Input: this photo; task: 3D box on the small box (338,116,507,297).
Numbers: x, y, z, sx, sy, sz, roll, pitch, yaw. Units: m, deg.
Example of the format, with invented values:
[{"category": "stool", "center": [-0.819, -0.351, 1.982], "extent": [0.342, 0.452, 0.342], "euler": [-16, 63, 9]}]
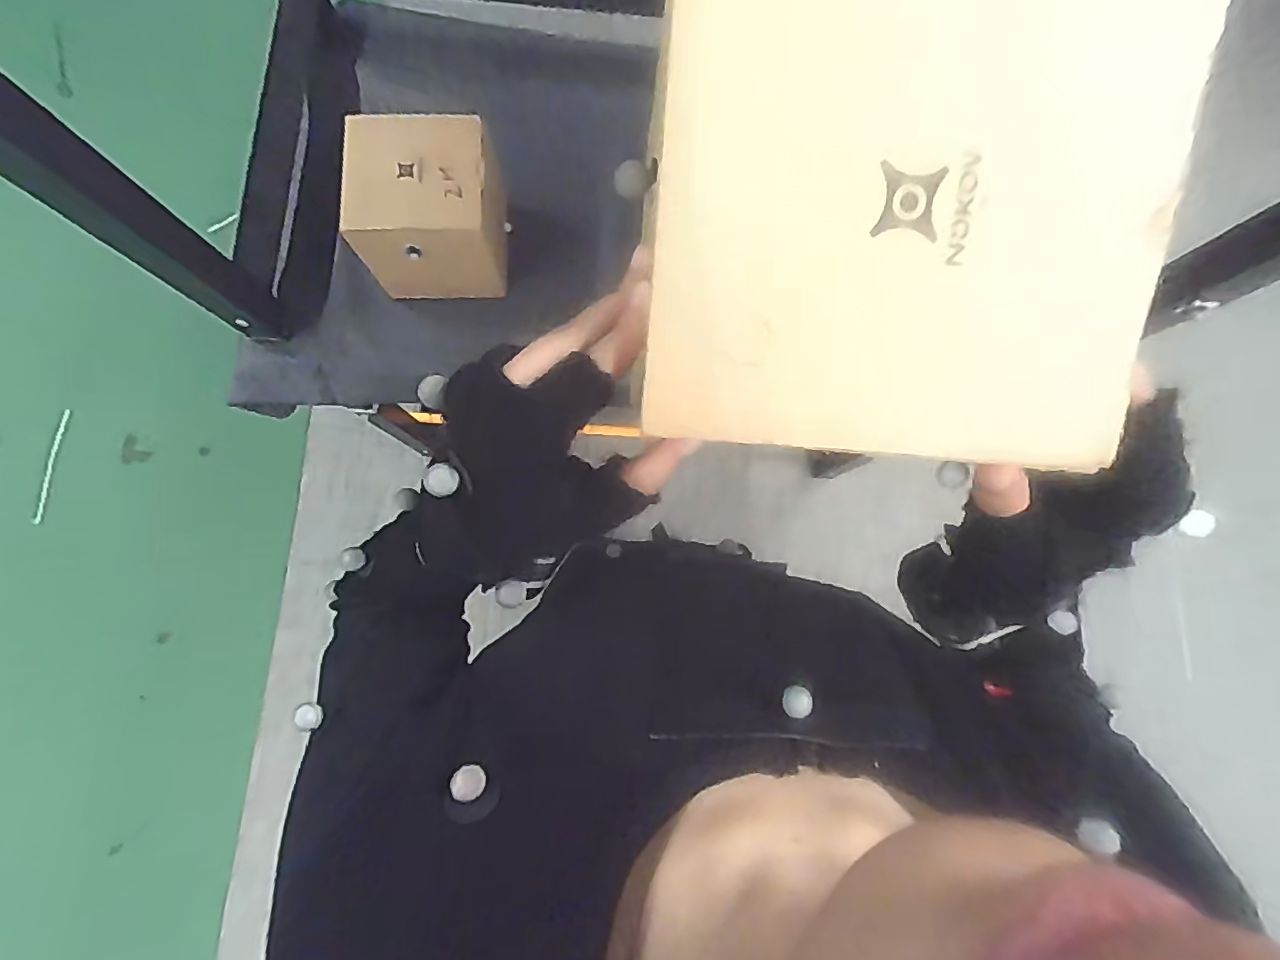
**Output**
[{"category": "small box", "center": [-0.293, -0.374, 0.763], "extent": [0.179, 0.176, 0.168], "euler": [-1, 80, -4]}]
